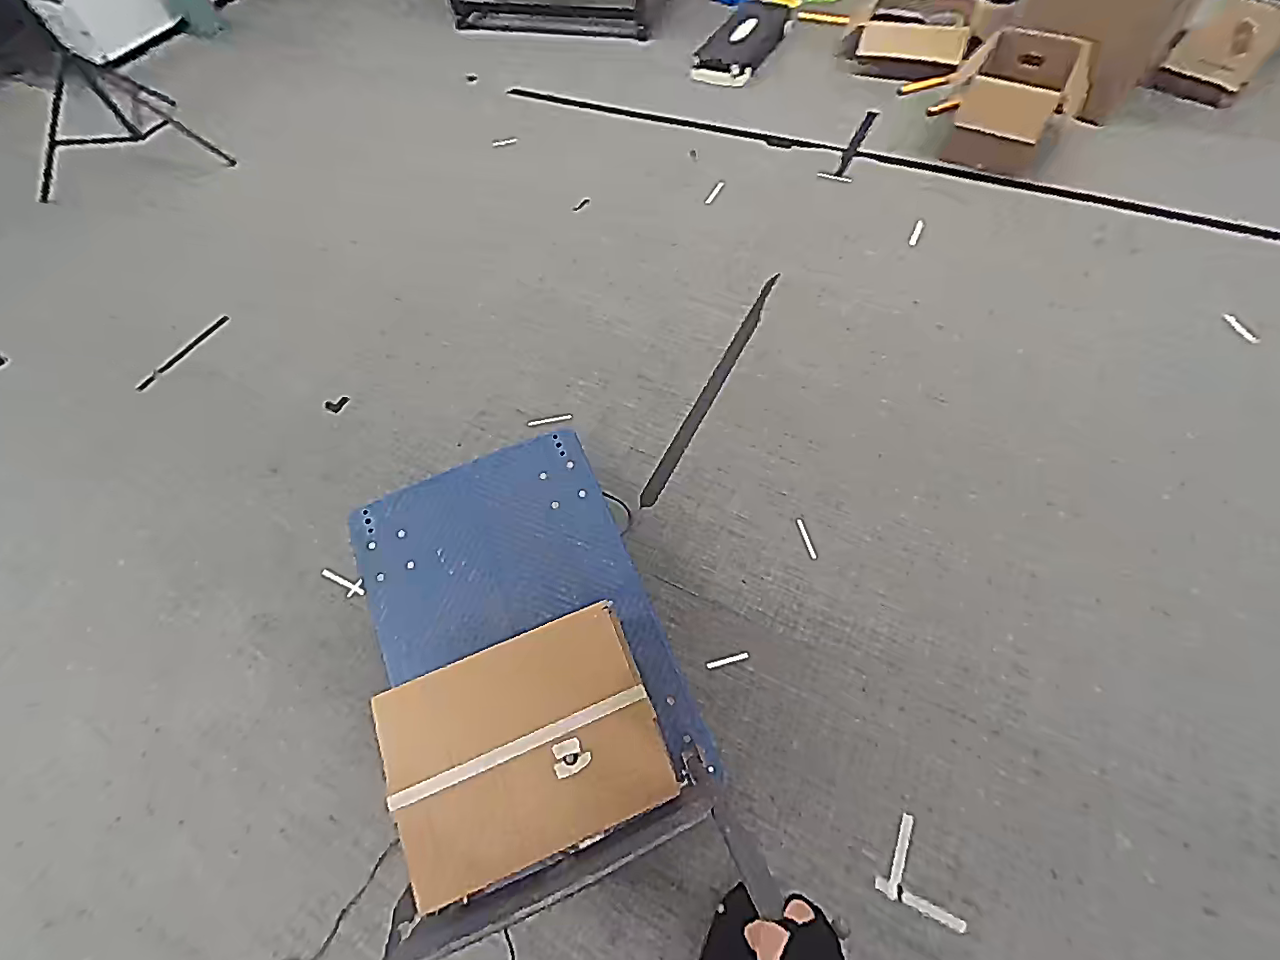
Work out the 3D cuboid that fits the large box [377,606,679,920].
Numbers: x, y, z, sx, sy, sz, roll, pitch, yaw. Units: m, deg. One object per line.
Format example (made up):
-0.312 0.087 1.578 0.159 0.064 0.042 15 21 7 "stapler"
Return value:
-0.180 0.471 0.975 0.408 0.320 0.320 -22 71 -8 "large box"
